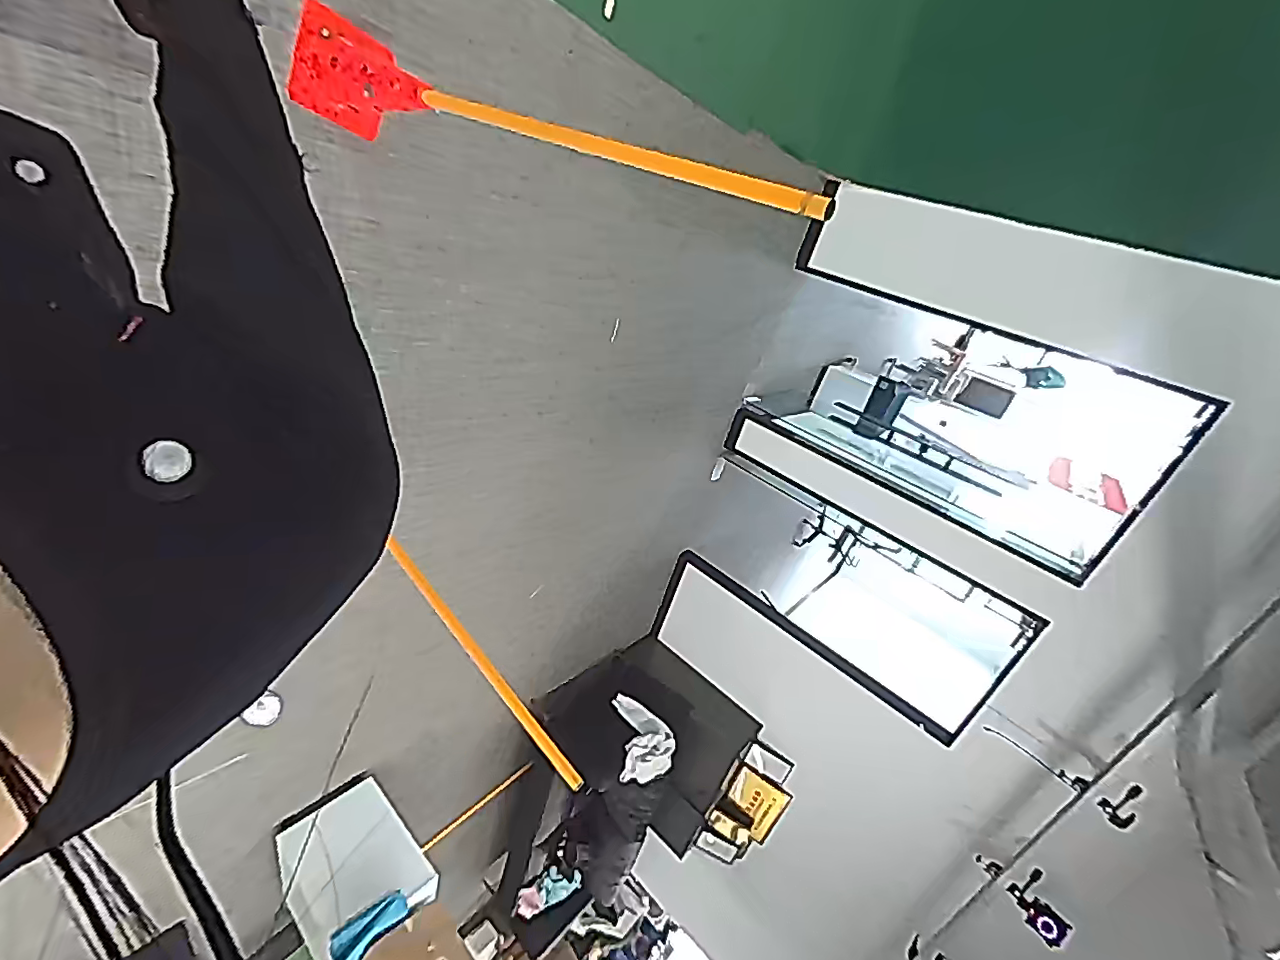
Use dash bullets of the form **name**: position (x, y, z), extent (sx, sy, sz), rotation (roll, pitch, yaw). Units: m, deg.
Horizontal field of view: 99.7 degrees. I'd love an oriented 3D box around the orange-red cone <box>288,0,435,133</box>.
- **orange-red cone**: position (-0.530, -0.824, 1.111), extent (0.198, 0.360, 0.199), rotation (2, 119, -56)
